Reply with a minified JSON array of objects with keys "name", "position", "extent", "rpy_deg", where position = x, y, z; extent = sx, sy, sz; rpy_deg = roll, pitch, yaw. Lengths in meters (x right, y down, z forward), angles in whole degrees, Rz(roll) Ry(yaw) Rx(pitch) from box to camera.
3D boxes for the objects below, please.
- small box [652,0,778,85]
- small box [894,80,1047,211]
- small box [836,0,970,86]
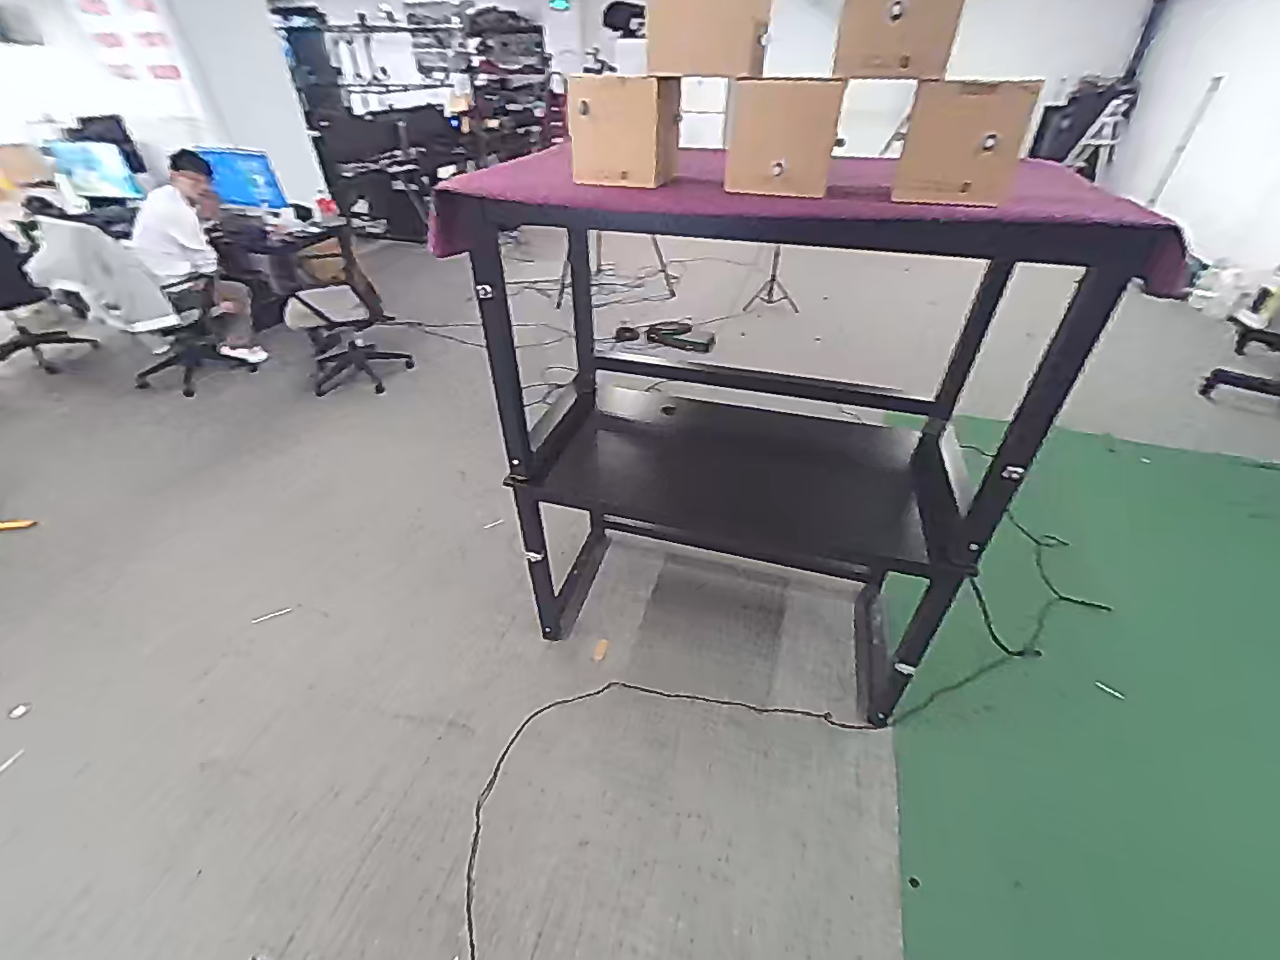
[{"name":"small box","position":[0.125,-0.762,0.893],"extent":[0.179,0.176,0.168],"rpy_deg":[13,39,14]},{"name":"small box","position":[0.530,-0.552,0.892],"extent":[0.168,0.176,0.179],"rpy_deg":[13,38,17]},{"name":"small box","position":[0.406,-0.710,0.828],"extent":[0.168,0.176,0.179],"rpy_deg":[14,39,17]}]
